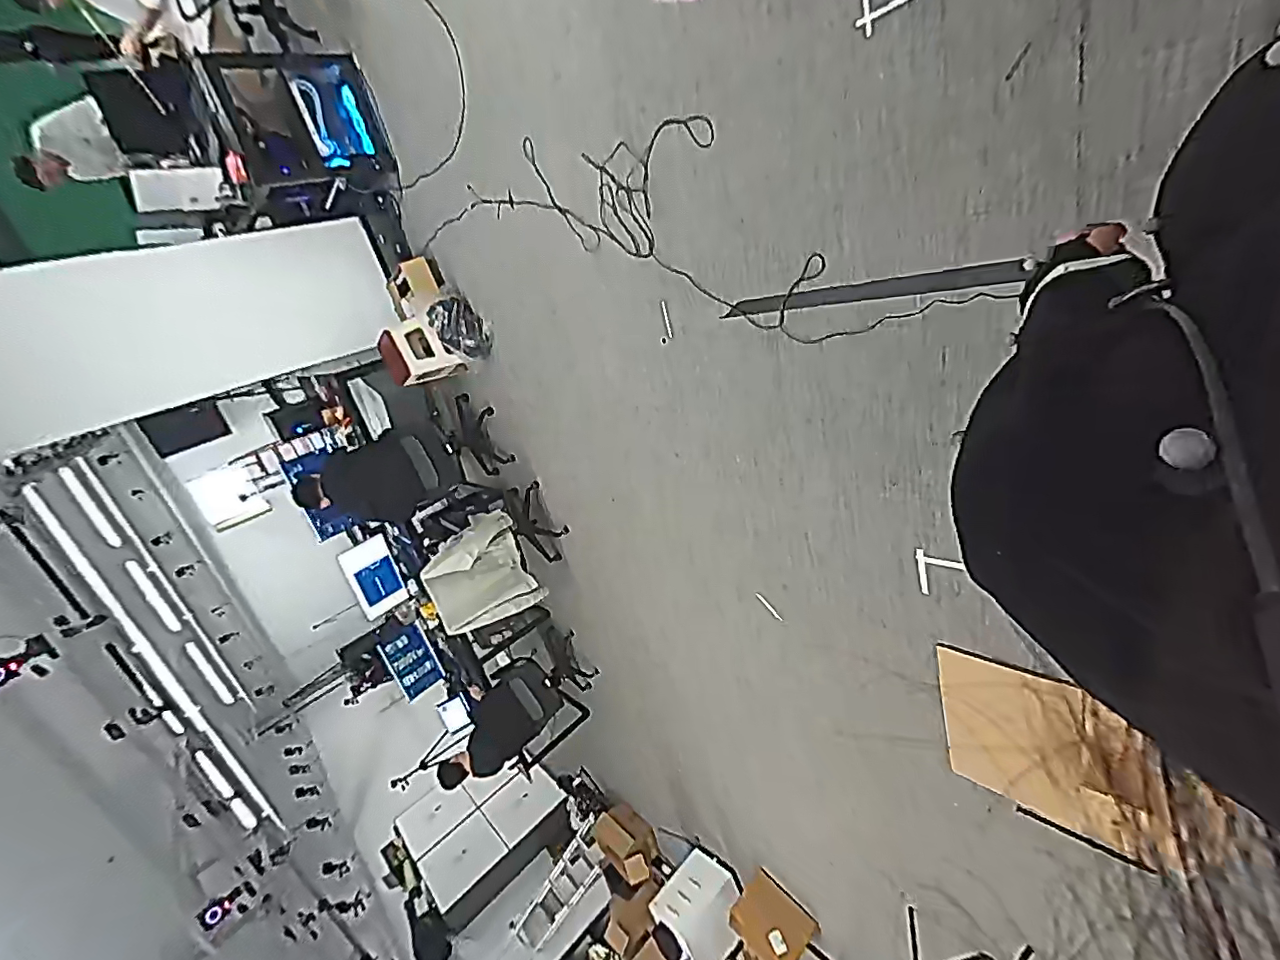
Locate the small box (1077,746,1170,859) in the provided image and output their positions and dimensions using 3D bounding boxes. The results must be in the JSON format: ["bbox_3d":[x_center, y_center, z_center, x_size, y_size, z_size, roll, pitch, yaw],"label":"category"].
[{"bbox_3d":[1.349,0.890,1.511,0.168,0.176,0.179,10,124,50],"label":"small box"}]
